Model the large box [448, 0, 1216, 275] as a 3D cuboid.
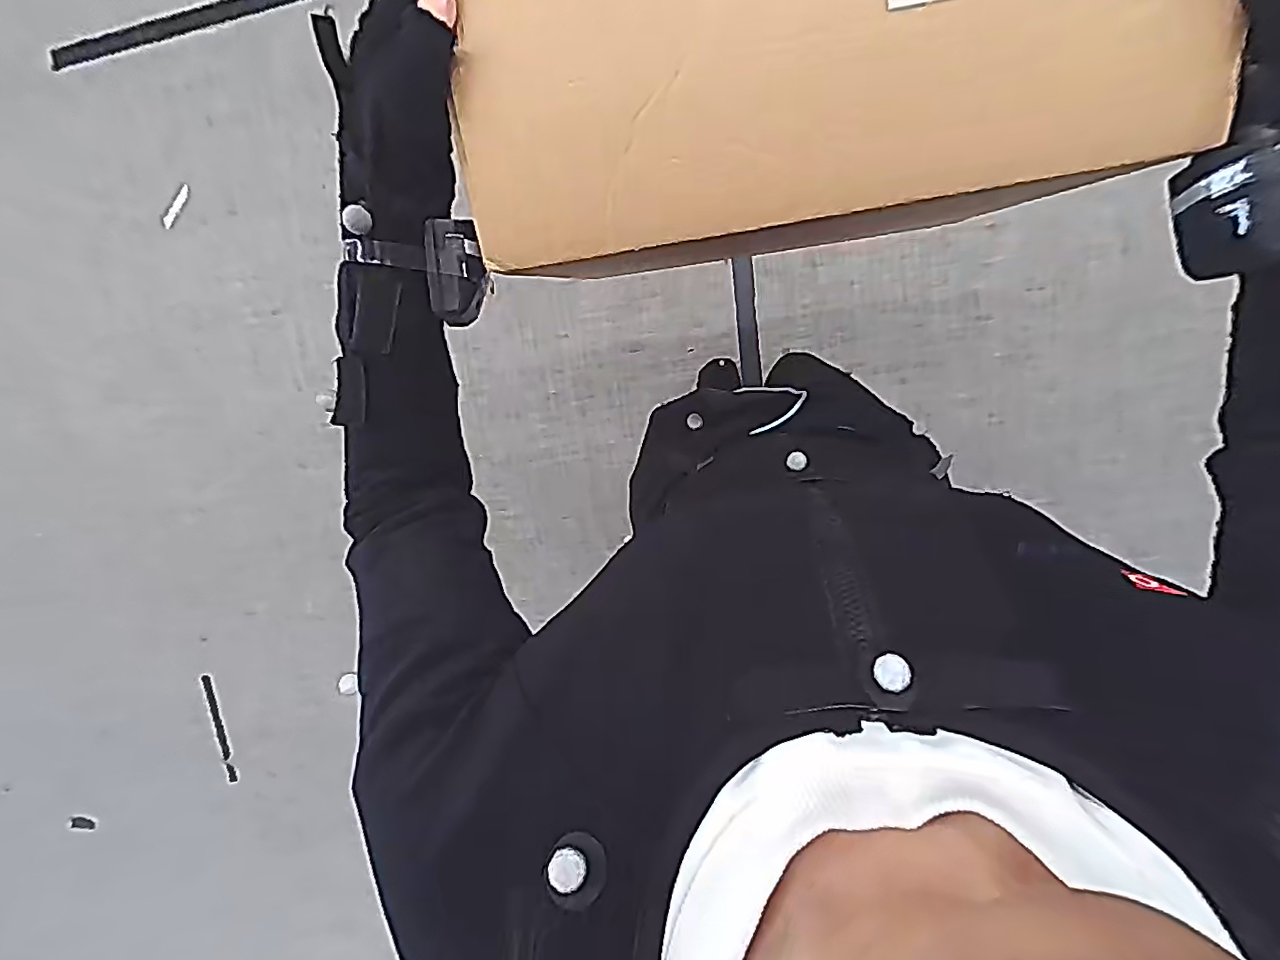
[{"bbox_3d":[0.097,-0.358,0.415,0.408,0.320,0.320,-6,109,9],"label":"large box"}]
